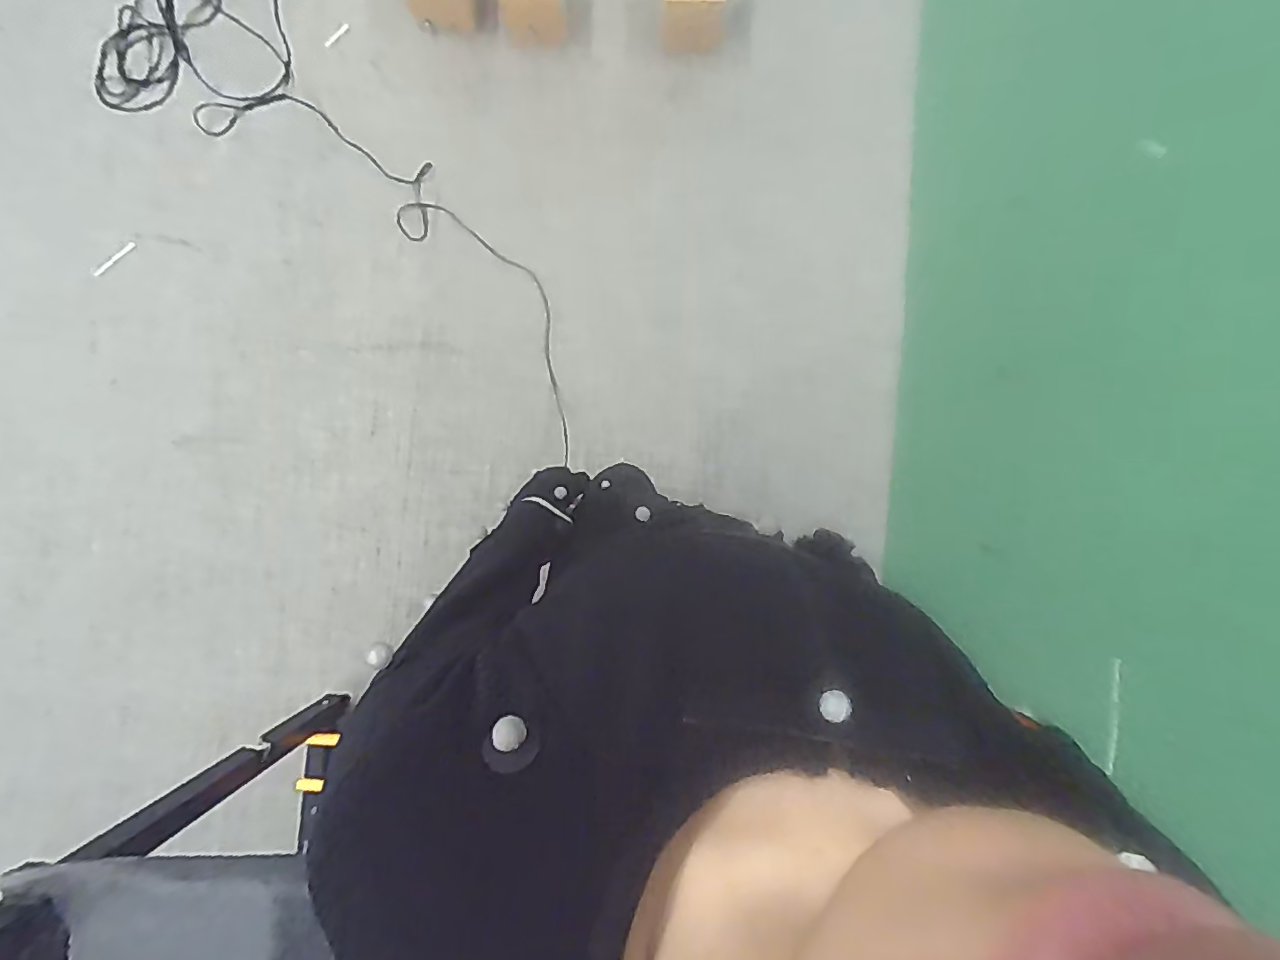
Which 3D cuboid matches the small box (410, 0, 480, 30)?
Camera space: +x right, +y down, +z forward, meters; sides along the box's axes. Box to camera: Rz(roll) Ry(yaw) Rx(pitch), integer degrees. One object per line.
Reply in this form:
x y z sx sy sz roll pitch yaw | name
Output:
-0.534 -1.363 1.454 0.168 0.176 0.179 2 87 0 | small box
